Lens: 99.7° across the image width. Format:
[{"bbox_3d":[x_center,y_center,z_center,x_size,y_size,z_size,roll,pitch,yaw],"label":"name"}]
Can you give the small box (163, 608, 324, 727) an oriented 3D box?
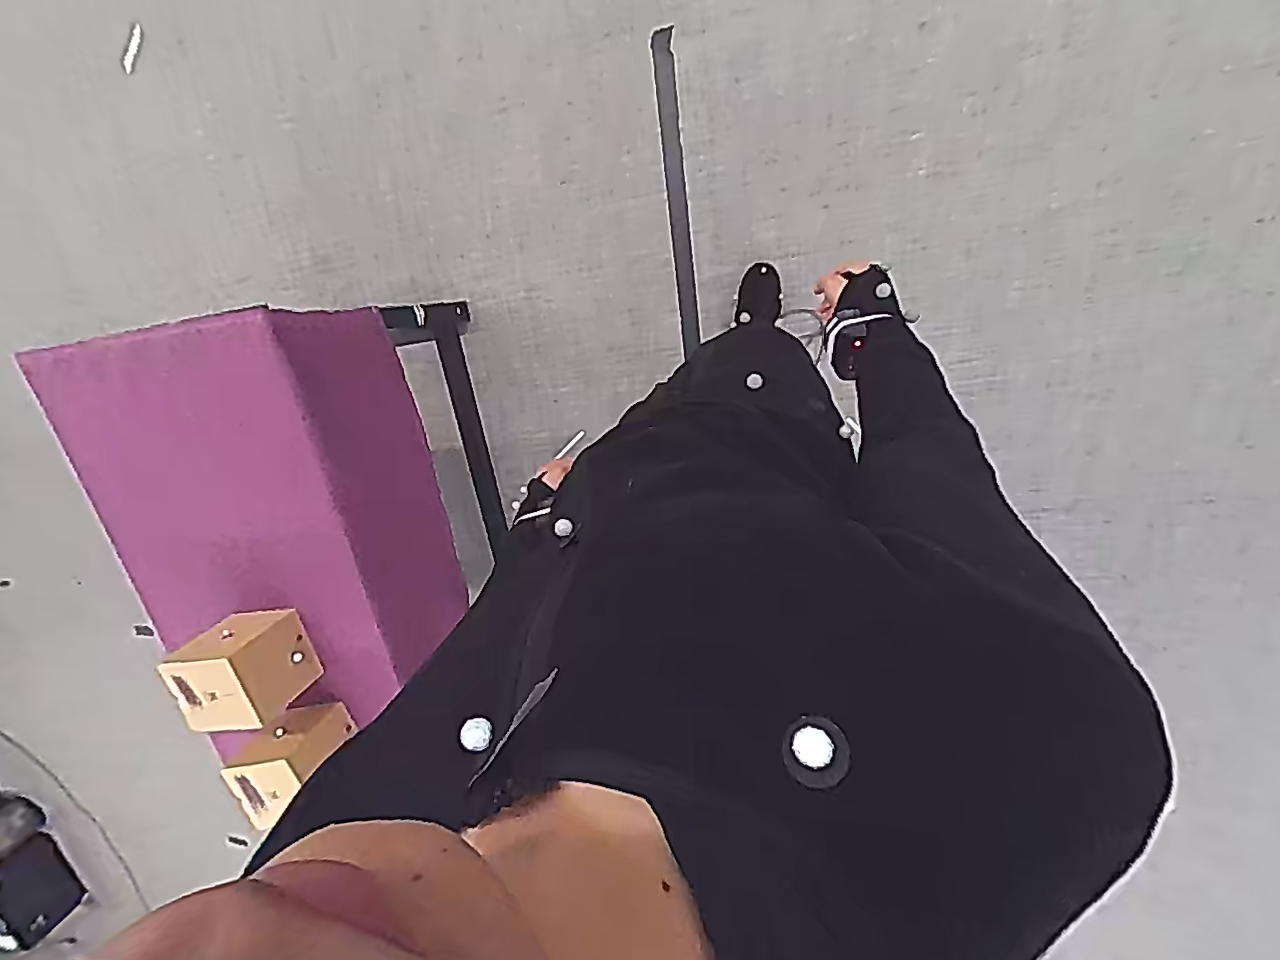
[{"bbox_3d":[-0.805,0.381,1.115,0.179,0.176,0.168,-8,108,14],"label":"small box"}]
